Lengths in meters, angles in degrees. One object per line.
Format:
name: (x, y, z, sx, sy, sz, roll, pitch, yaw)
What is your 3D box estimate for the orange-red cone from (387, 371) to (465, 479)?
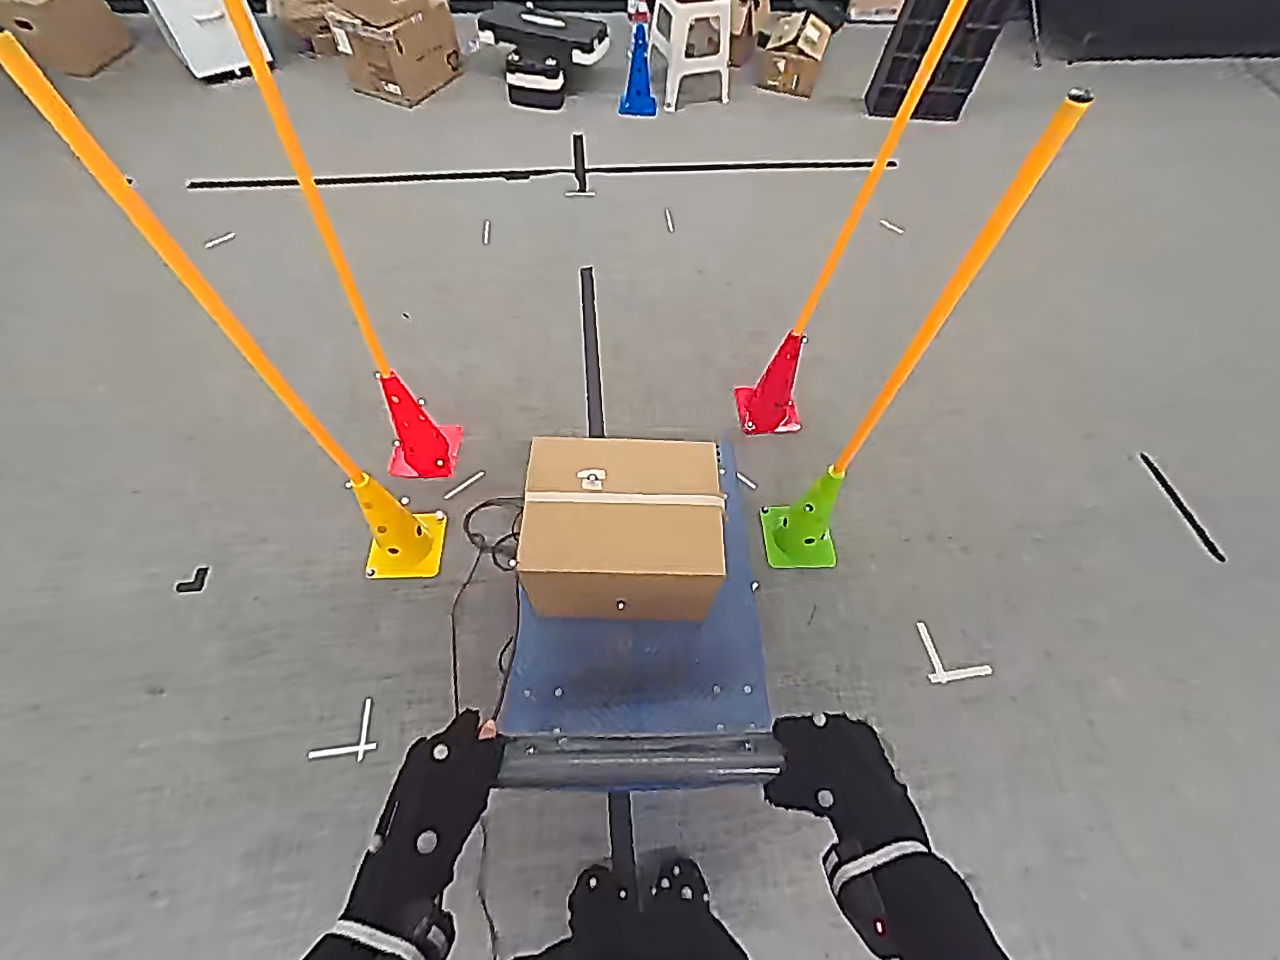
orange-red cone: (-0.666, -0.184, 1.588, 0.198, 0.360, 0.199, 3, 57, -1)

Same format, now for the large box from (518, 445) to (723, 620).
large box: (-0.037, 0.131, 1.245, 0.408, 0.320, 0.320, 1, 59, 0)

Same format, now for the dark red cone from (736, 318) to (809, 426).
dark red cone: (0.450, -0.346, 1.707, 0.201, 0.394, 0.202, -3, 59, -6)

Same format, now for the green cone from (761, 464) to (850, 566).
green cone: (0.478, 0.075, 1.467, 0.202, 0.368, 0.200, 0, 58, -4)
